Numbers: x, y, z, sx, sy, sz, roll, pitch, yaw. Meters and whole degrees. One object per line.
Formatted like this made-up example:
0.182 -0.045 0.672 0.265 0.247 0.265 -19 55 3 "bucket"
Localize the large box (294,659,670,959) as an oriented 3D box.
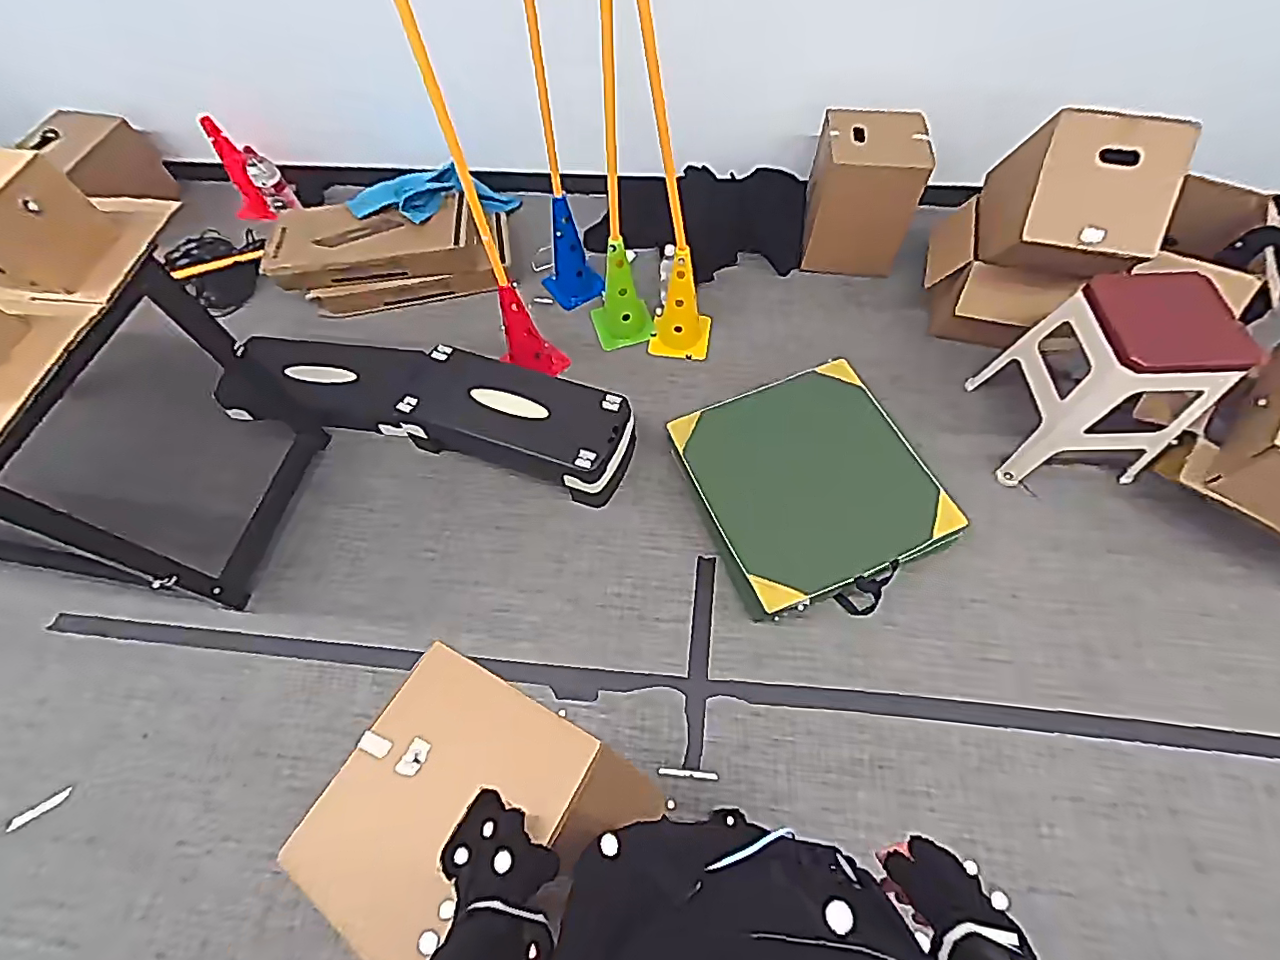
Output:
-0.193 0.528 0.816 0.320 0.408 0.320 19 61 28 "large box"
